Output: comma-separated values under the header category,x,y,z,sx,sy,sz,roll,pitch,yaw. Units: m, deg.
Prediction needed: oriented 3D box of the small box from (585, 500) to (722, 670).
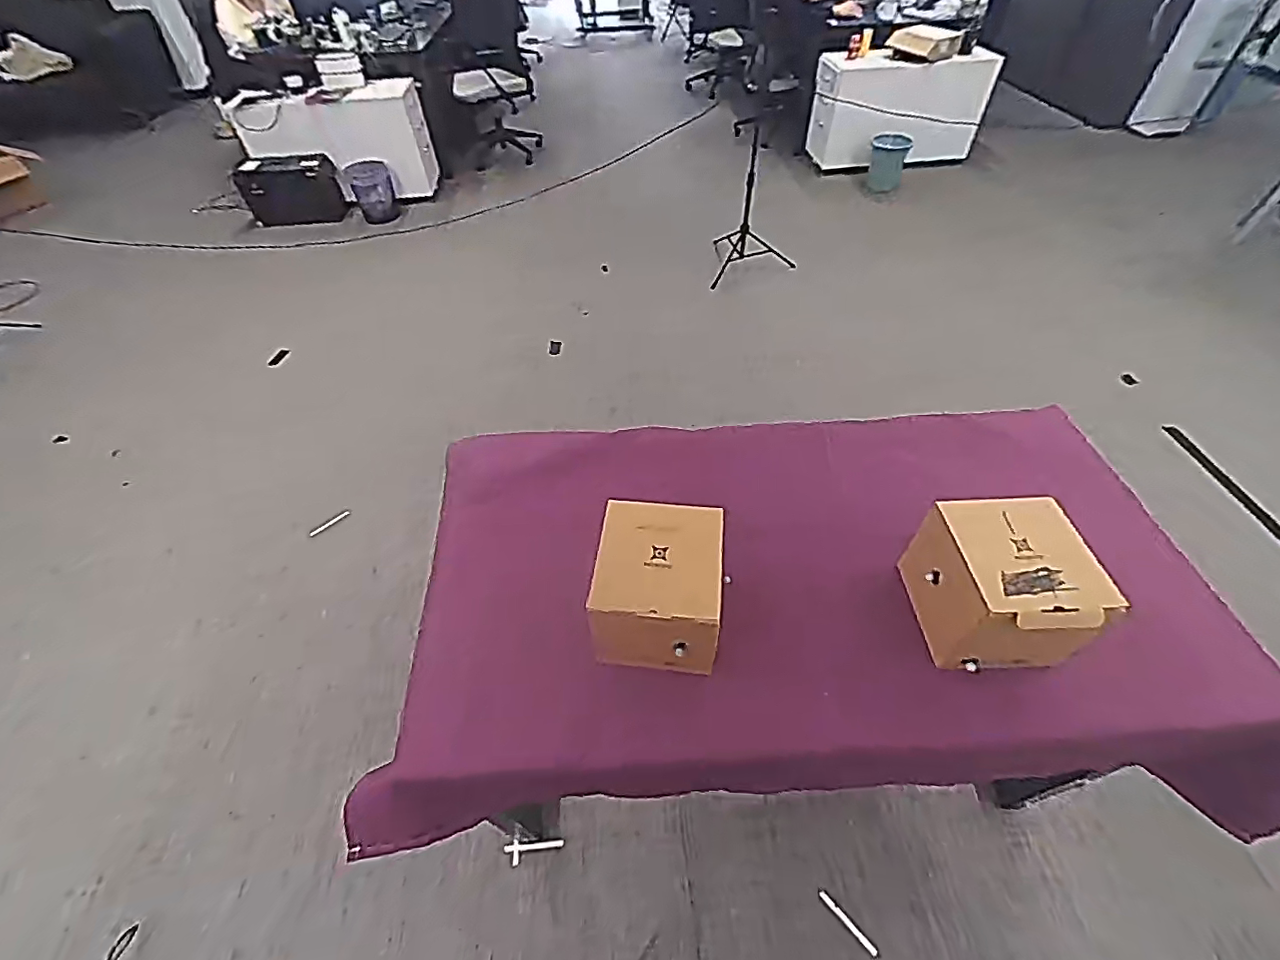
category,x,y,z,sx,sy,sz,roll,pitch,yaw
small box,0.025,0.152,0.770,0.168,0.176,0.179,5,49,5

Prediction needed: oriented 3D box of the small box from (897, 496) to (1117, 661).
category,x,y,z,sx,sy,sz,roll,pitch,yaw
small box,0.490,0.143,0.757,0.168,0.176,0.179,-2,48,1
